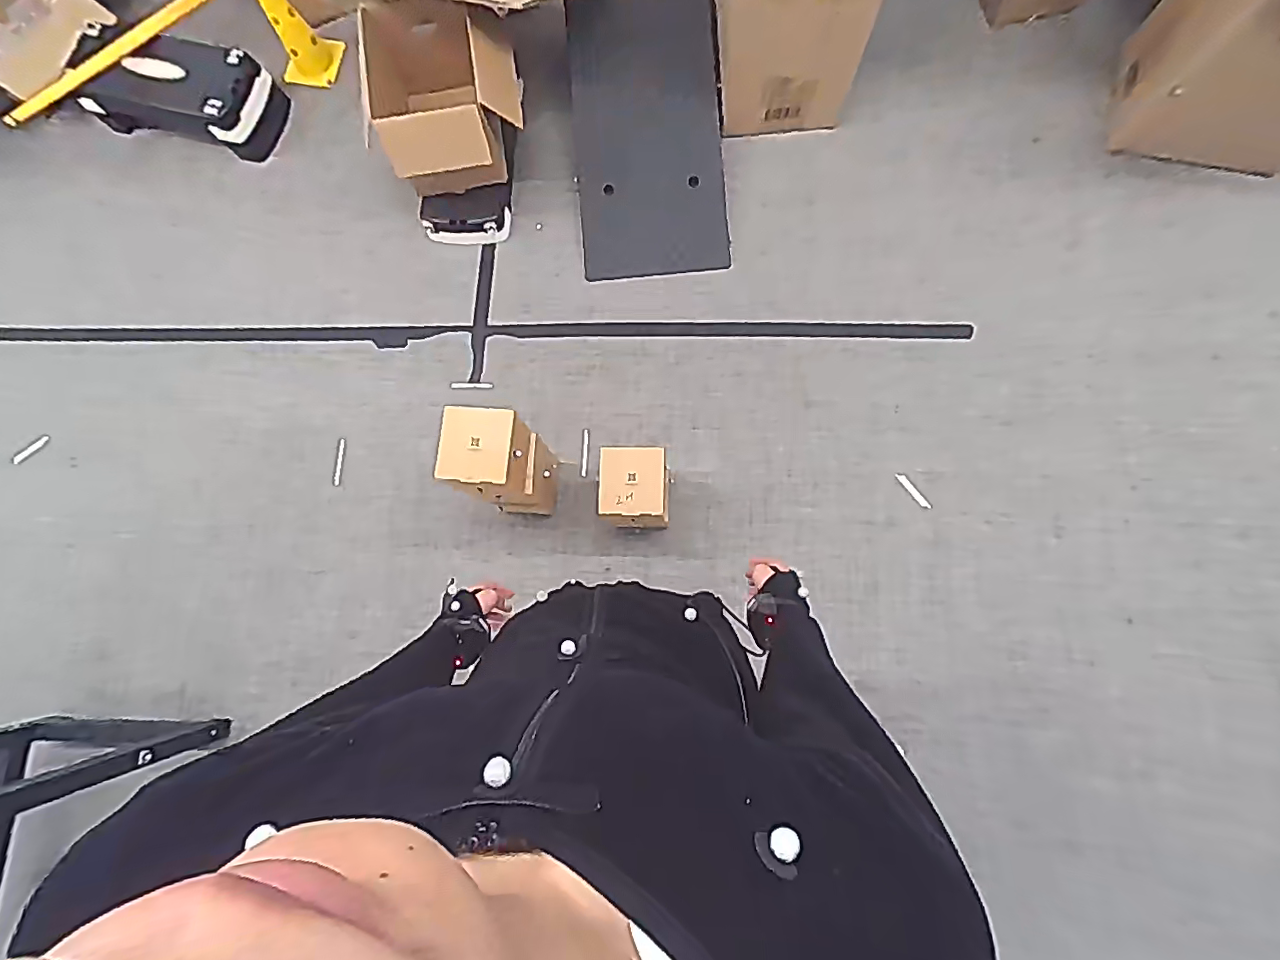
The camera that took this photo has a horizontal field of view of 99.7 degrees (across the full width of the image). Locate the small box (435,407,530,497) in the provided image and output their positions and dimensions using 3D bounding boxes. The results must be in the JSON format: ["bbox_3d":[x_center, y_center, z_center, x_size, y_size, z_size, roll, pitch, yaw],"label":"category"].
[{"bbox_3d":[-0.368,-0.062,1.299,0.168,0.176,0.179,4,80,3],"label":"small box"}]

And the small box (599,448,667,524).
[{"bbox_3d":[-0.014,0.020,1.434,0.168,0.176,0.179,1,80,4],"label":"small box"}]

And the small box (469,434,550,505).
[{"bbox_3d":[-0.351,-0.026,1.457,0.179,0.176,0.168,2,79,2],"label":"small box"}]

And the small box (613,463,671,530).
[{"bbox_3d":[0.007,0.052,1.594,0.168,0.176,0.179,-1,80,4],"label":"small box"}]
